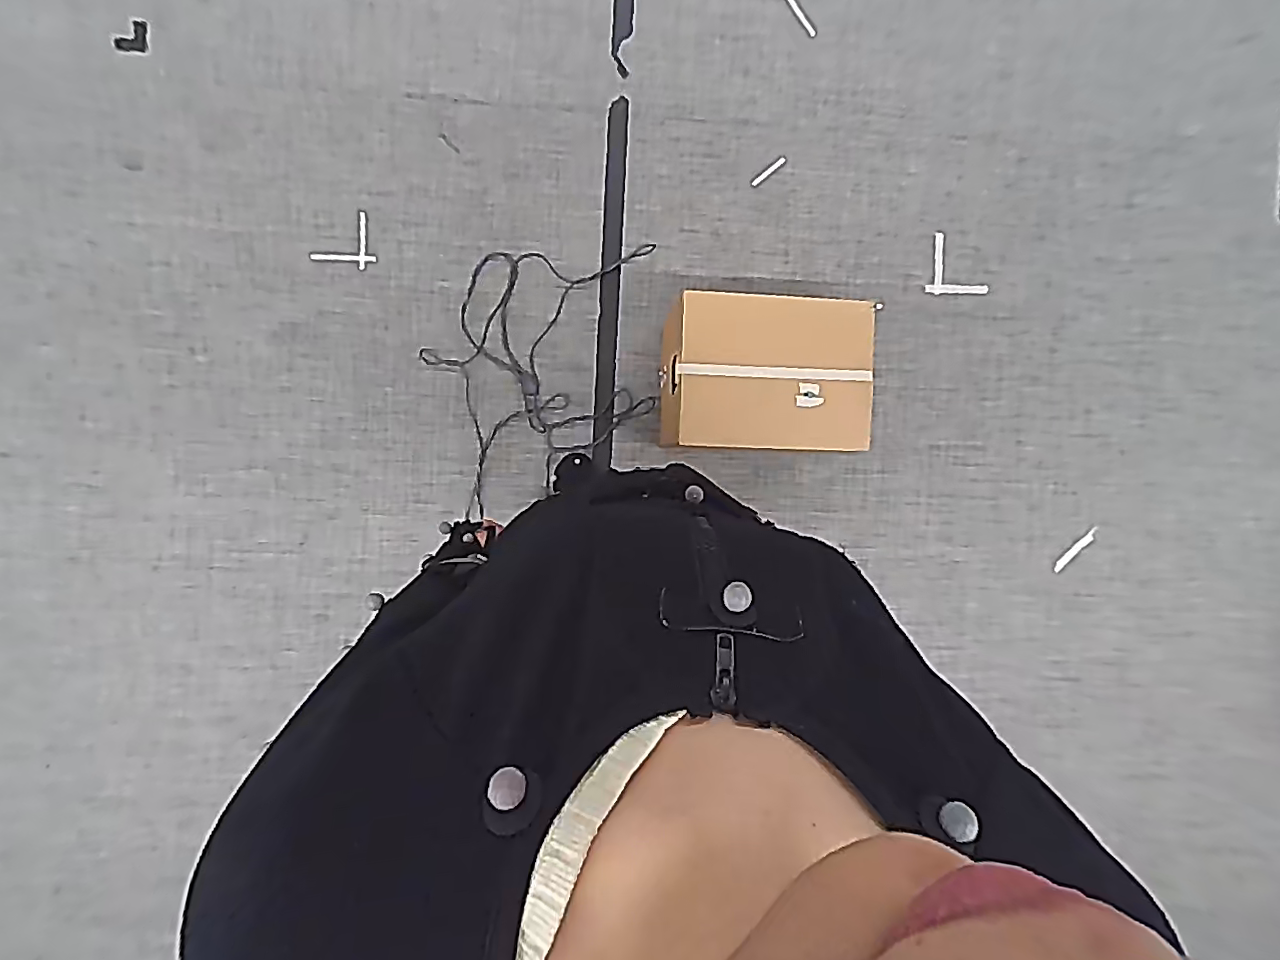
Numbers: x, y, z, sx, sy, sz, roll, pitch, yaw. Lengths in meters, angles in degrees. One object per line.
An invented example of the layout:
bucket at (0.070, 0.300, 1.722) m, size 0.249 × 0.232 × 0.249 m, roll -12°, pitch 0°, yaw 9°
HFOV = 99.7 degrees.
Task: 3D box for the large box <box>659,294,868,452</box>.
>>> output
large box at (0.260, -0.224, 1.257) m, size 0.408 × 0.320 × 0.320 m, roll 1°, pitch 93°, yaw -6°
